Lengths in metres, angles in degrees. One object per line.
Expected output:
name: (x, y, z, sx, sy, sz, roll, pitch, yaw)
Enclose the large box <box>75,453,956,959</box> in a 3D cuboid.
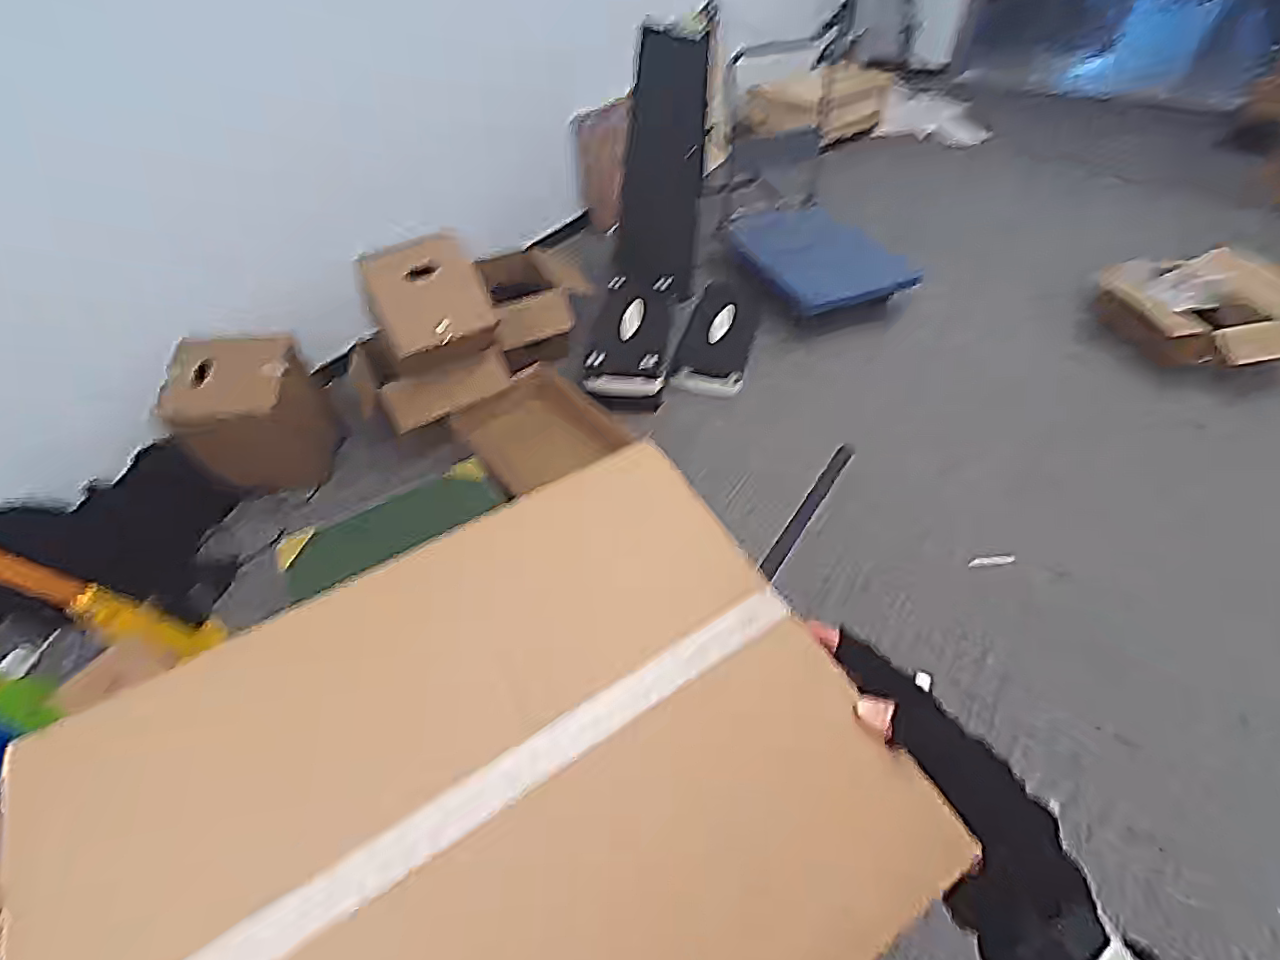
large box: (-0.077, 0.253, 0.421, 0.408, 0.320, 0.320, -27, 62, -18)
